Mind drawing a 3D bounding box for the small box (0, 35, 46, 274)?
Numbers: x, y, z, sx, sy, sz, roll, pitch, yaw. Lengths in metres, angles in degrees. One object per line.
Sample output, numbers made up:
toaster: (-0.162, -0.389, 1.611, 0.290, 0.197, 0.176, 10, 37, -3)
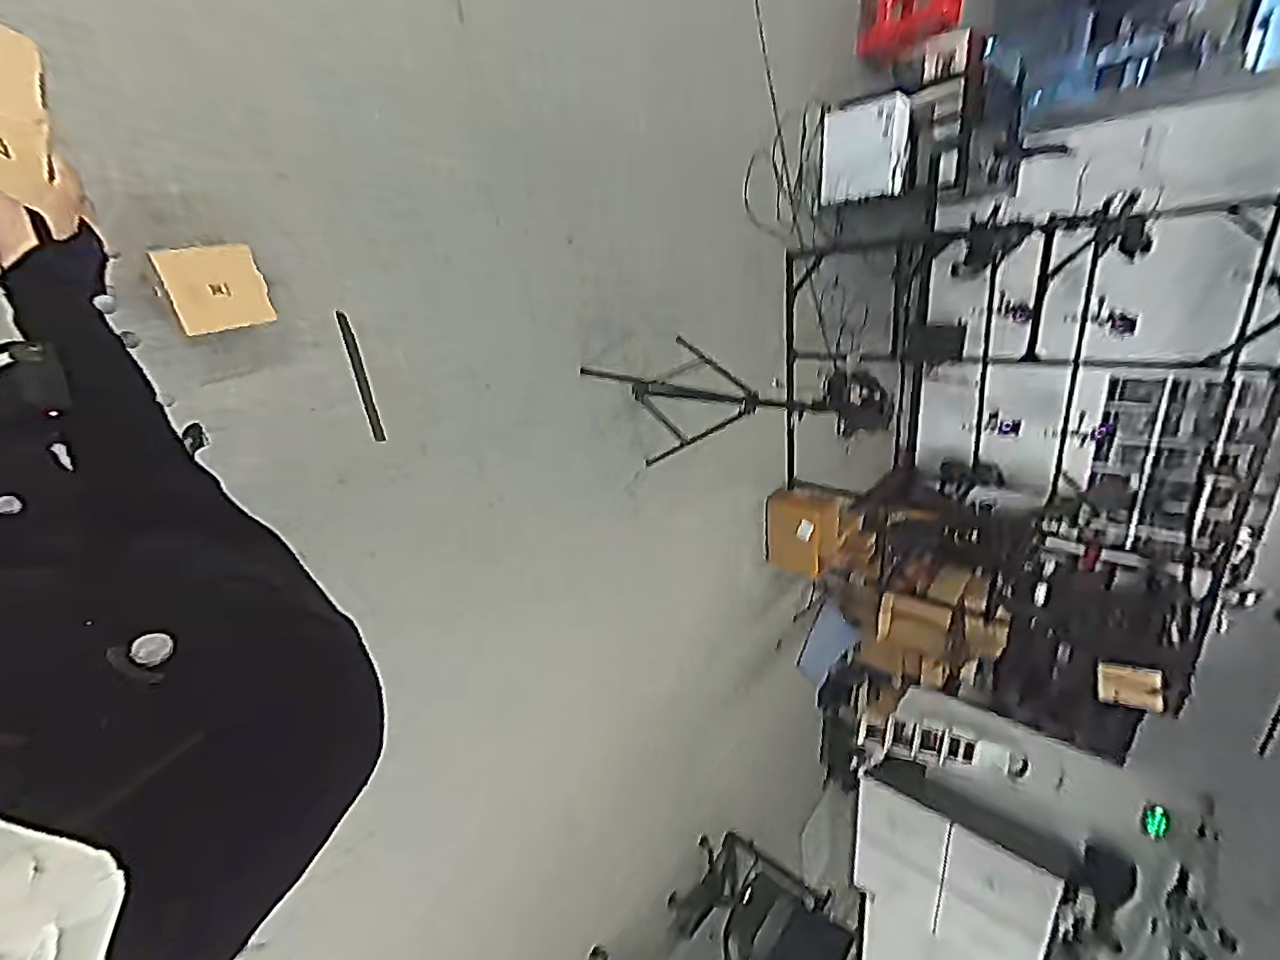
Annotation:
small box: (-0.654, -0.295, 0.463, 0.179, 0.176, 0.168, -7, 91, -53)

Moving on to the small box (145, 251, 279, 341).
small box: (-0.951, -0.408, 1.203, 0.179, 0.176, 0.168, -29, 119, -40)
